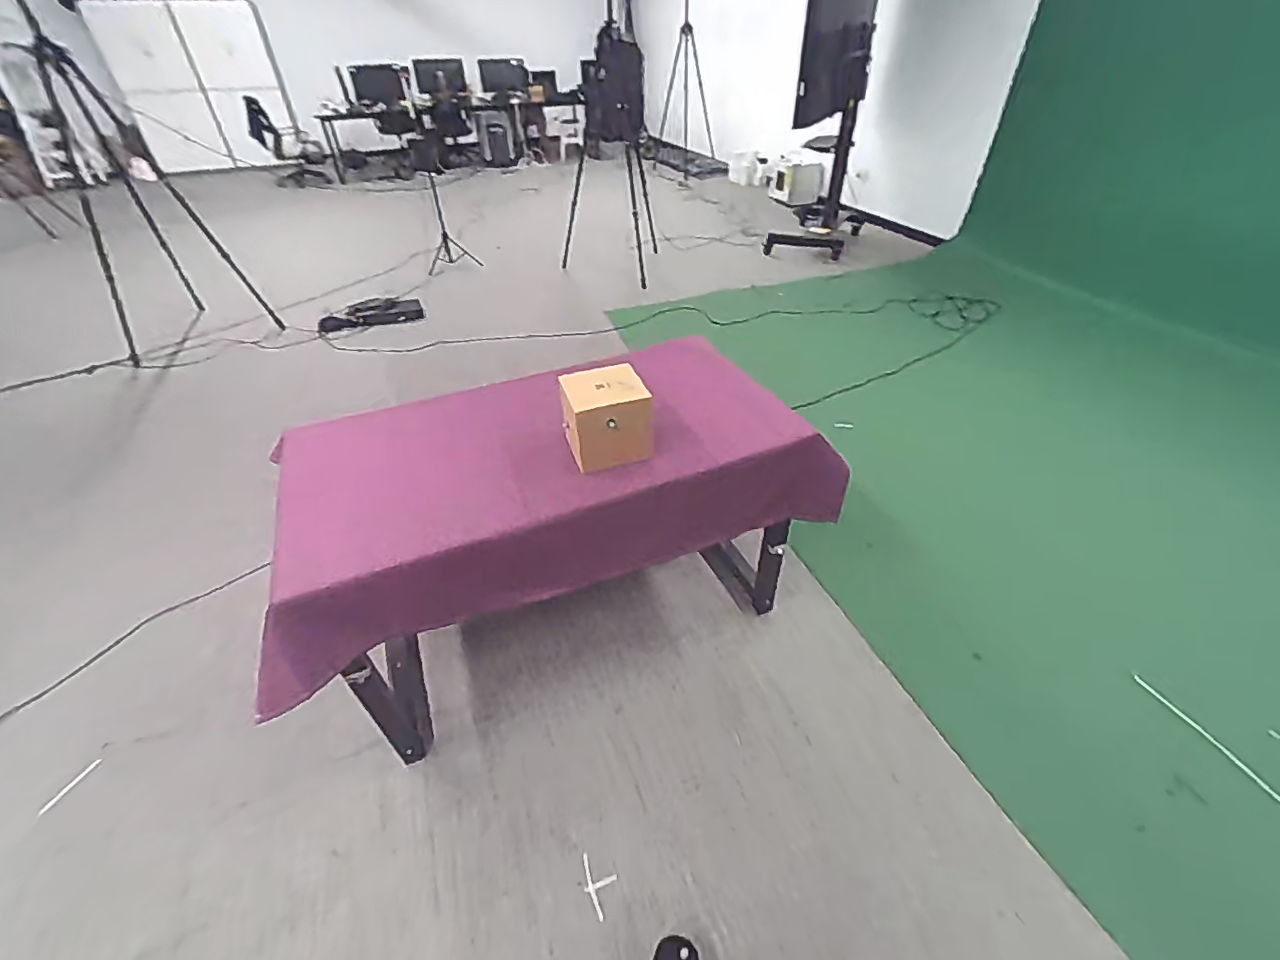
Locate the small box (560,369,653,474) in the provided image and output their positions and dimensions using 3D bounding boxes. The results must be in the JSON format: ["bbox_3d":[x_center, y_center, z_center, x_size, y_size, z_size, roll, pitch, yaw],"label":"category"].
[{"bbox_3d":[-0.075,-0.133,1.254,0.179,0.176,0.168,-13,41,-13],"label":"small box"}]
